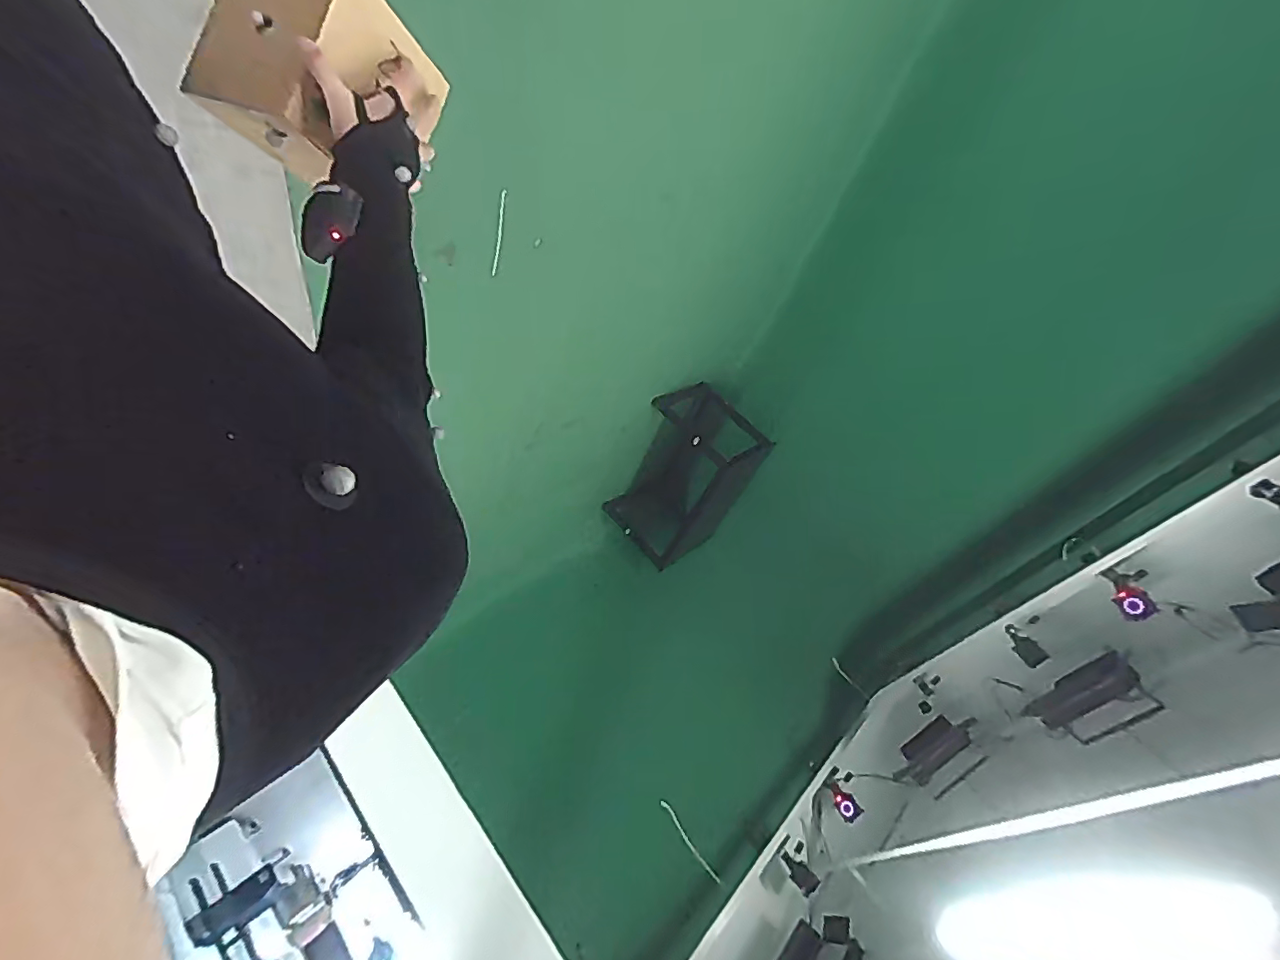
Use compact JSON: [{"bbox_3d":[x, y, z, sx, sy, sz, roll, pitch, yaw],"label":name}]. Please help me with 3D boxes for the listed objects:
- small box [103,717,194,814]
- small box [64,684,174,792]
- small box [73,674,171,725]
[{"bbox_3d":[-1.458,0.833,1.590,0.168,0.176,0.179,-26,152,-40],"label":"small box"},{"bbox_3d":[-1.370,0.671,1.426,0.168,0.176,0.179,-22,152,-46],"label":"small box"},{"bbox_3d":[-1.567,0.727,1.647,0.168,0.176,0.179,-27,153,-41],"label":"small box"}]
